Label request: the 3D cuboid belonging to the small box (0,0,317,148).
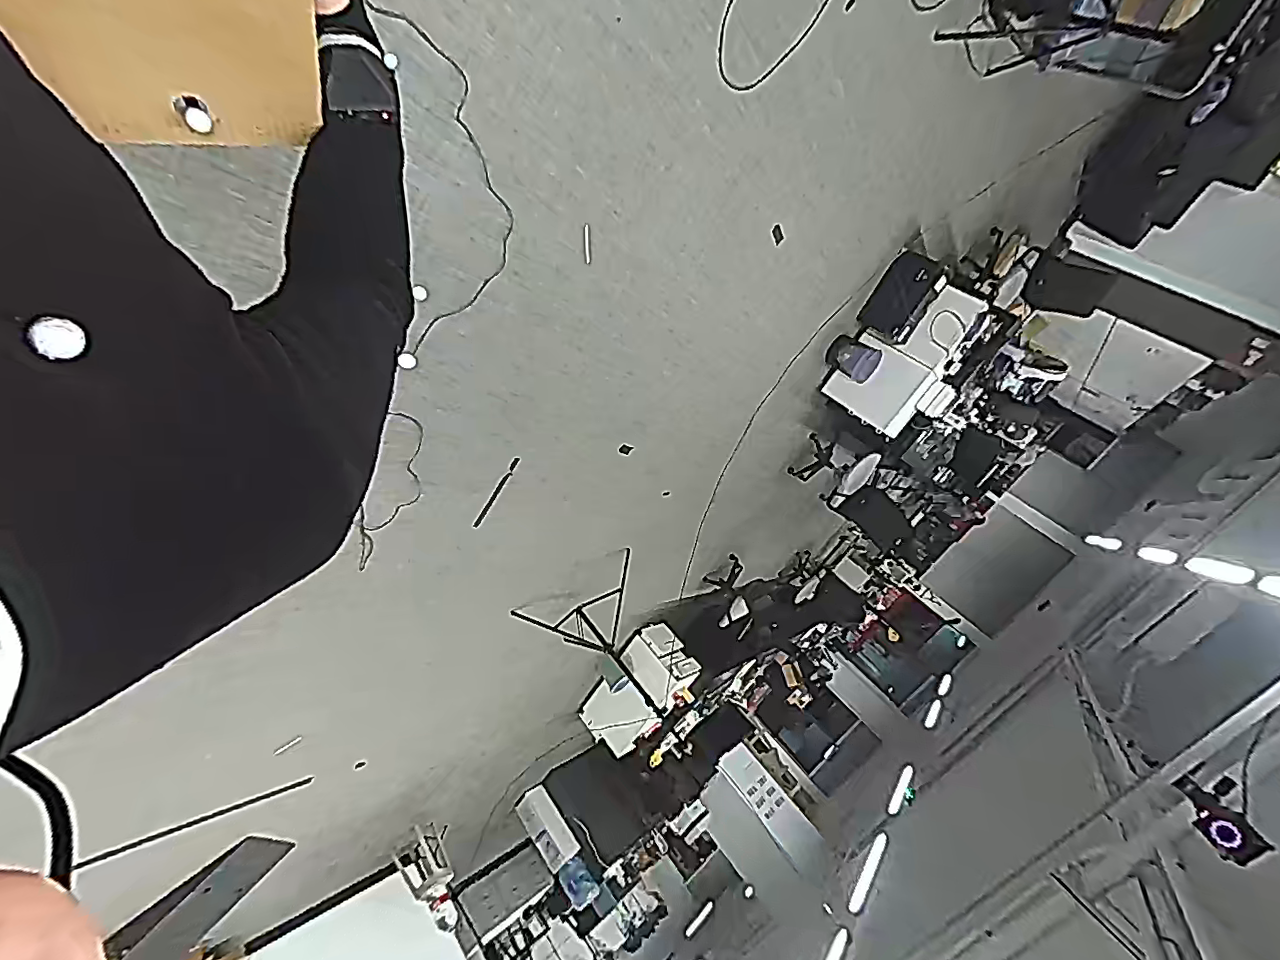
[{"bbox_3d":[-0.344,-0.362,0.375,0.179,0.168,0.176,-19,-179,-29],"label":"small box"}]
